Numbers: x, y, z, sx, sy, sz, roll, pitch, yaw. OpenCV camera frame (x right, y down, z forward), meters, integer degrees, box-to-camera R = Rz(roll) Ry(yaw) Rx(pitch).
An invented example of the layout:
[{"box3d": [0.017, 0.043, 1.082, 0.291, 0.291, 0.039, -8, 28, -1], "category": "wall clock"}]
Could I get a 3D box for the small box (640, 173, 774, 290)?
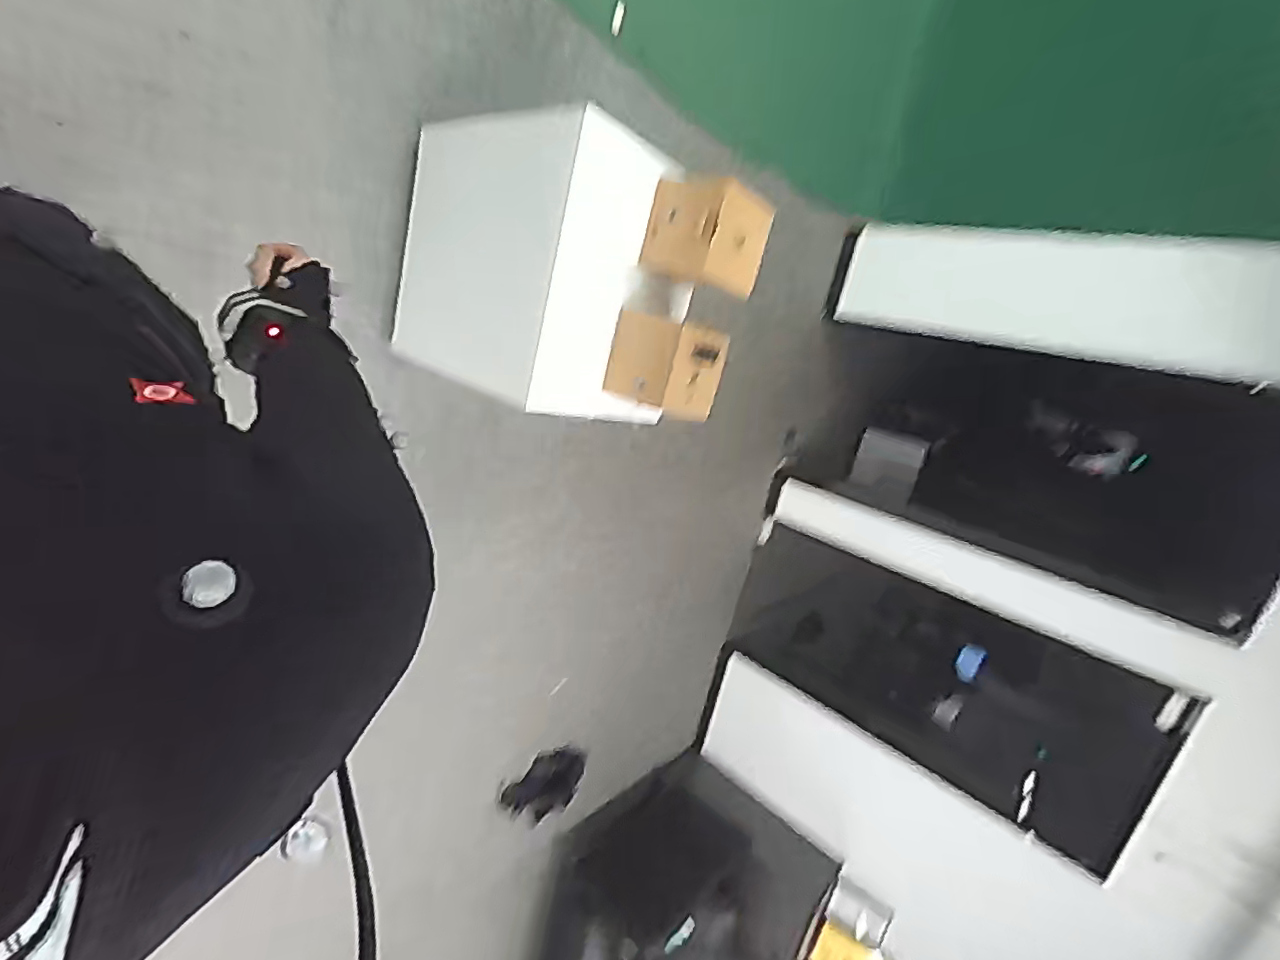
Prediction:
[{"box3d": [0.130, -0.491, 1.071, 0.179, 0.176, 0.168, -2, 112, -49], "category": "small box"}]
